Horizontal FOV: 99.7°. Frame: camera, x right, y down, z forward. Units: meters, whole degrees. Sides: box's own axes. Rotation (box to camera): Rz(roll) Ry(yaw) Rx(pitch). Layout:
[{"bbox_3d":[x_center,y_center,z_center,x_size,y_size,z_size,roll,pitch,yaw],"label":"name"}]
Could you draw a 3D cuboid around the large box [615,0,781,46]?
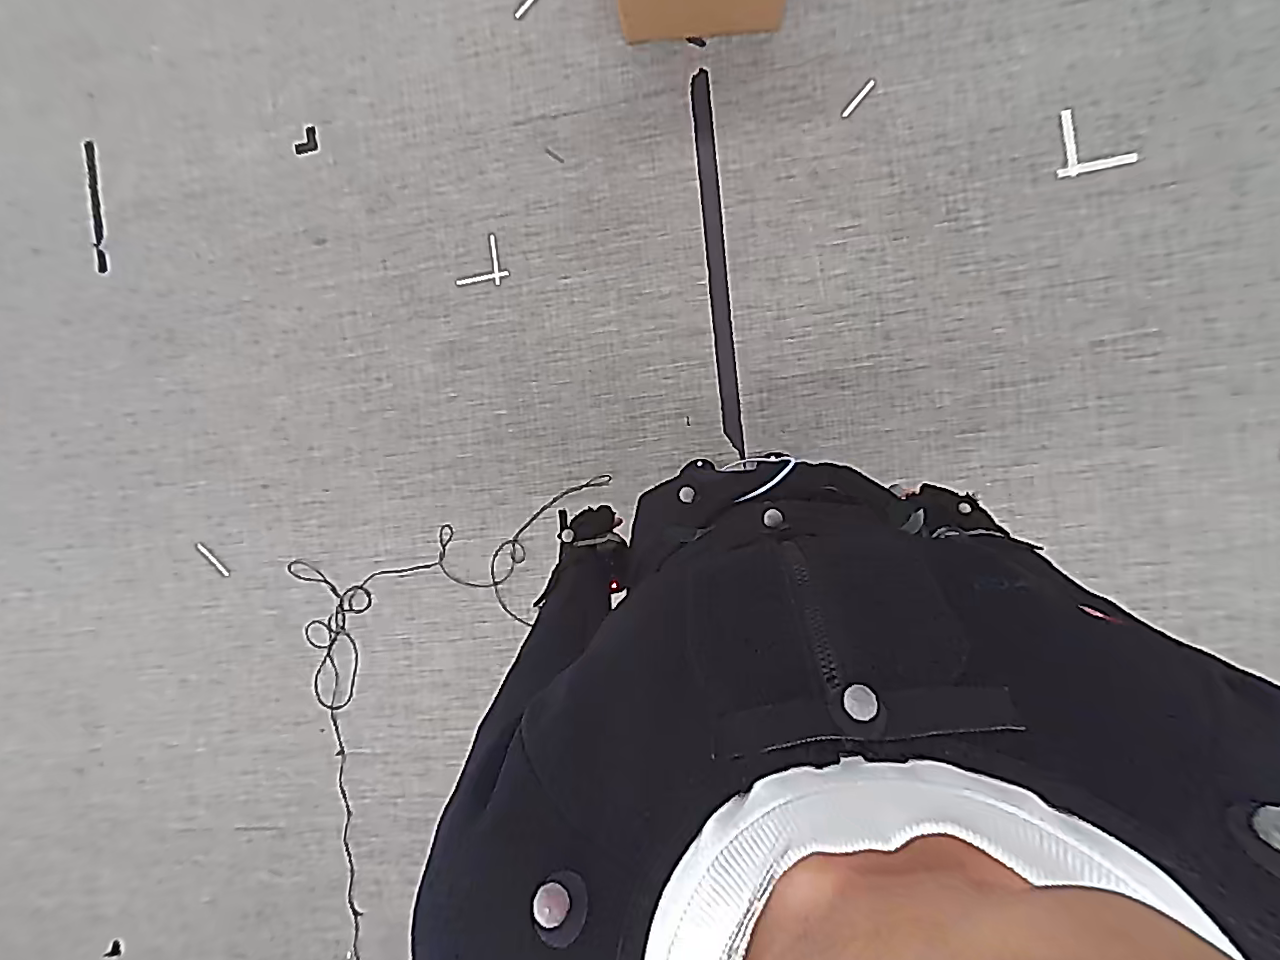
[{"bbox_3d":[0.133,-1.290,1.251,0.408,0.320,0.320,0,94,6],"label":"large box"}]
